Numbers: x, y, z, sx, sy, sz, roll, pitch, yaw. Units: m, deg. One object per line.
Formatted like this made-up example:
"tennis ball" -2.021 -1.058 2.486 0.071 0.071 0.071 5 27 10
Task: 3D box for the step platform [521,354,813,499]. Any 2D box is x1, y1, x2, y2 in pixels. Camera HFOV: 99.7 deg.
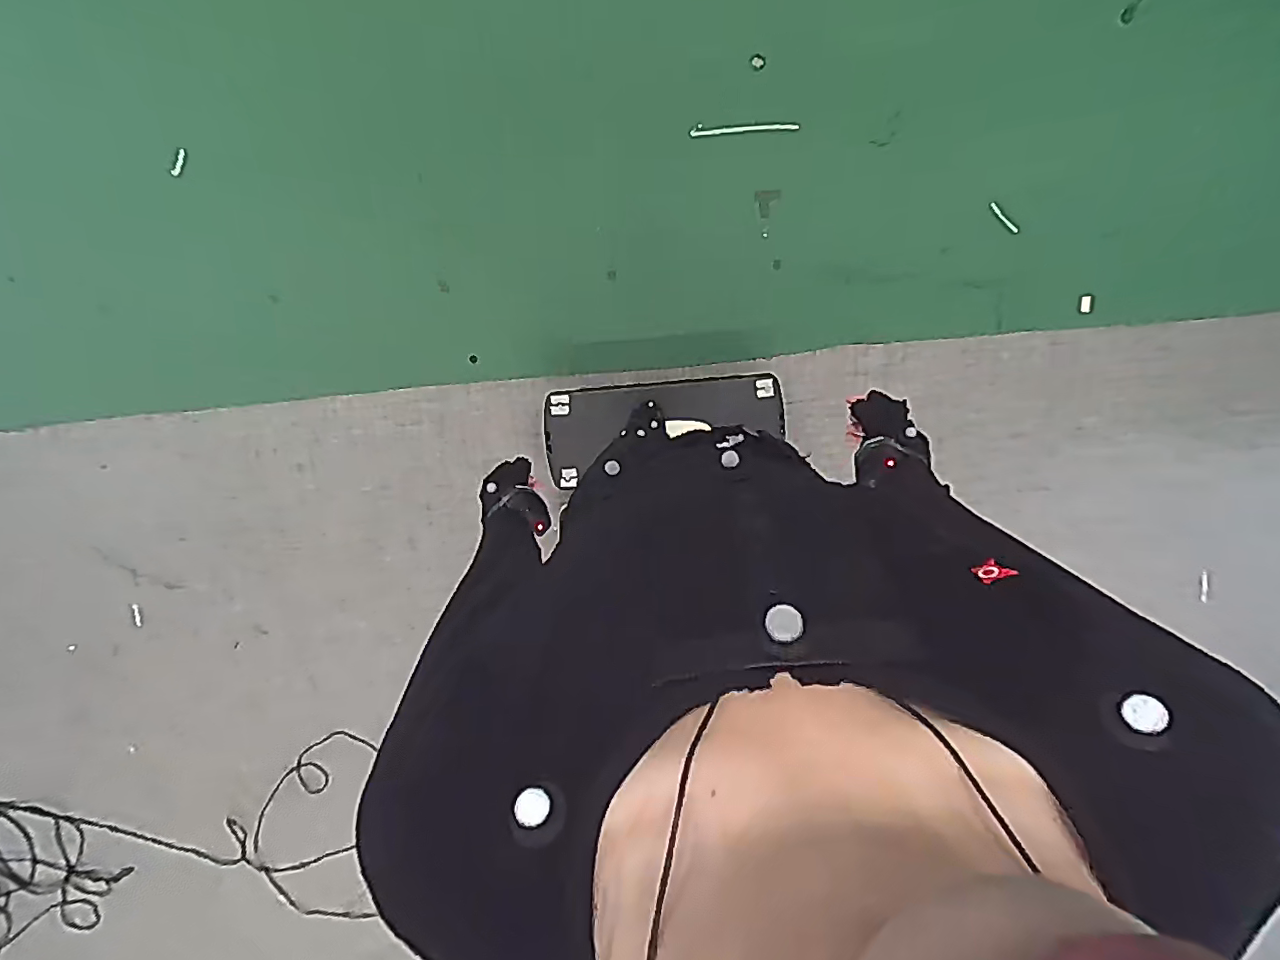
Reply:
"step platform" 0.064 -0.136 1.351 0.684 0.204 0.286 -6 98 0
